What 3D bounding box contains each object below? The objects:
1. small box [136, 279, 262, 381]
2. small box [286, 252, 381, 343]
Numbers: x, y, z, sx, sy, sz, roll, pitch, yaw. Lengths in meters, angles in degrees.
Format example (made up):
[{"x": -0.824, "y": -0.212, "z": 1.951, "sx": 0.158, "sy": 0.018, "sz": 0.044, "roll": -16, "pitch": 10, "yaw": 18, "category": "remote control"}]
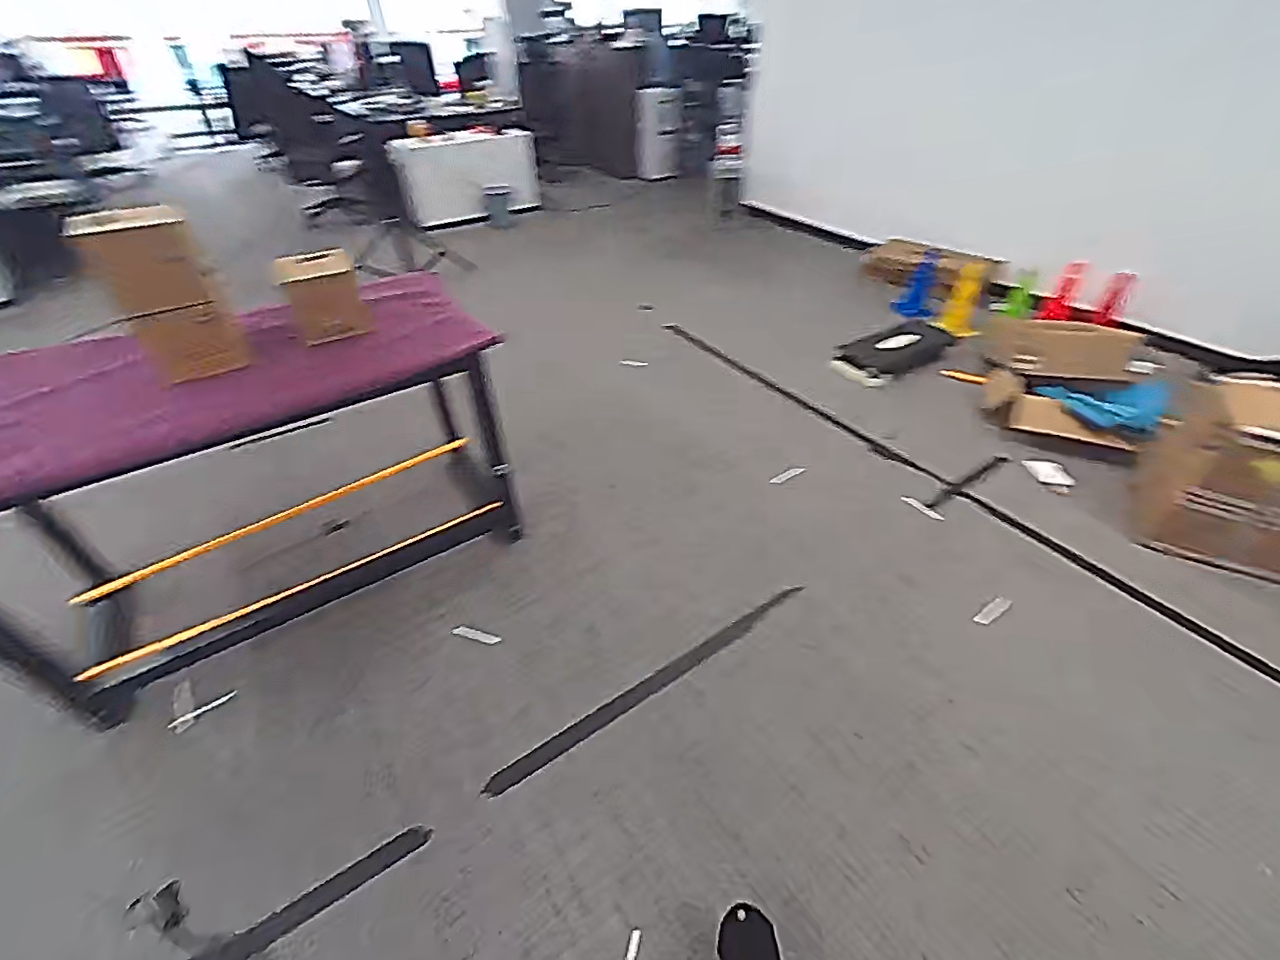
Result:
[{"x": -1.043, "y": -0.355, "z": 1.286, "sx": 0.179, "sy": 0.176, "sz": 0.168, "roll": -24, "pitch": 46, "yaw": -25, "category": "small box"}, {"x": -0.807, "y": -0.482, "z": 1.428, "sx": 0.168, "sy": 0.176, "sz": 0.179, "roll": -22, "pitch": 46, "yaw": -22, "category": "small box"}]
